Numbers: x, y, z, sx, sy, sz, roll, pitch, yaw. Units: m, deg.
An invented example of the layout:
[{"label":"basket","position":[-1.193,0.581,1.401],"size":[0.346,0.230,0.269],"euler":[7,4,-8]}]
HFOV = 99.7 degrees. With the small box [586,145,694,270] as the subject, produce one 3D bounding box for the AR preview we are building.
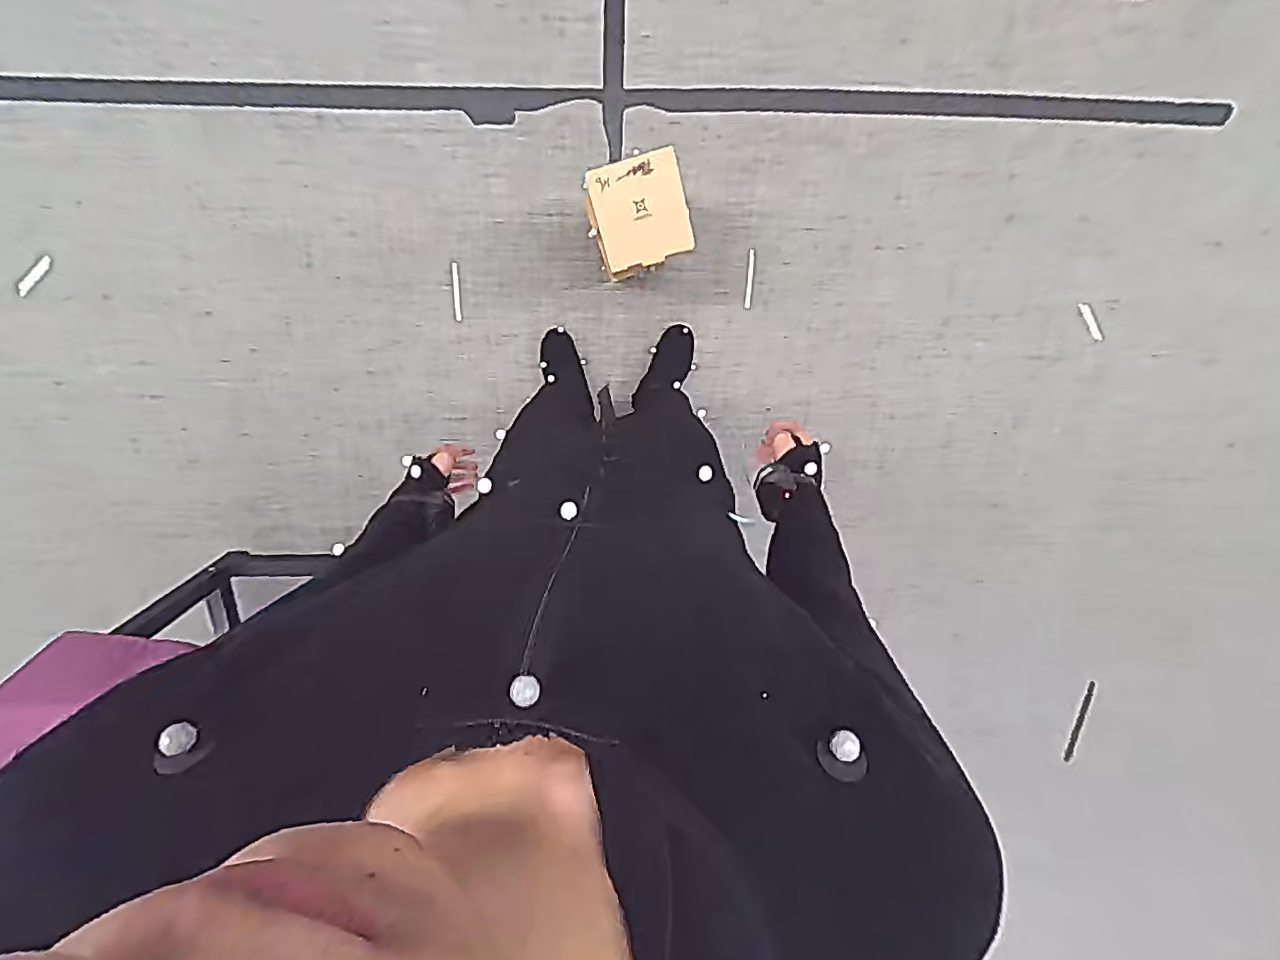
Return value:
[{"label":"small box","position":[0.000,-0.520,1.054],"size":[0.168,0.176,0.179],"euler":[-15,111,2]}]
